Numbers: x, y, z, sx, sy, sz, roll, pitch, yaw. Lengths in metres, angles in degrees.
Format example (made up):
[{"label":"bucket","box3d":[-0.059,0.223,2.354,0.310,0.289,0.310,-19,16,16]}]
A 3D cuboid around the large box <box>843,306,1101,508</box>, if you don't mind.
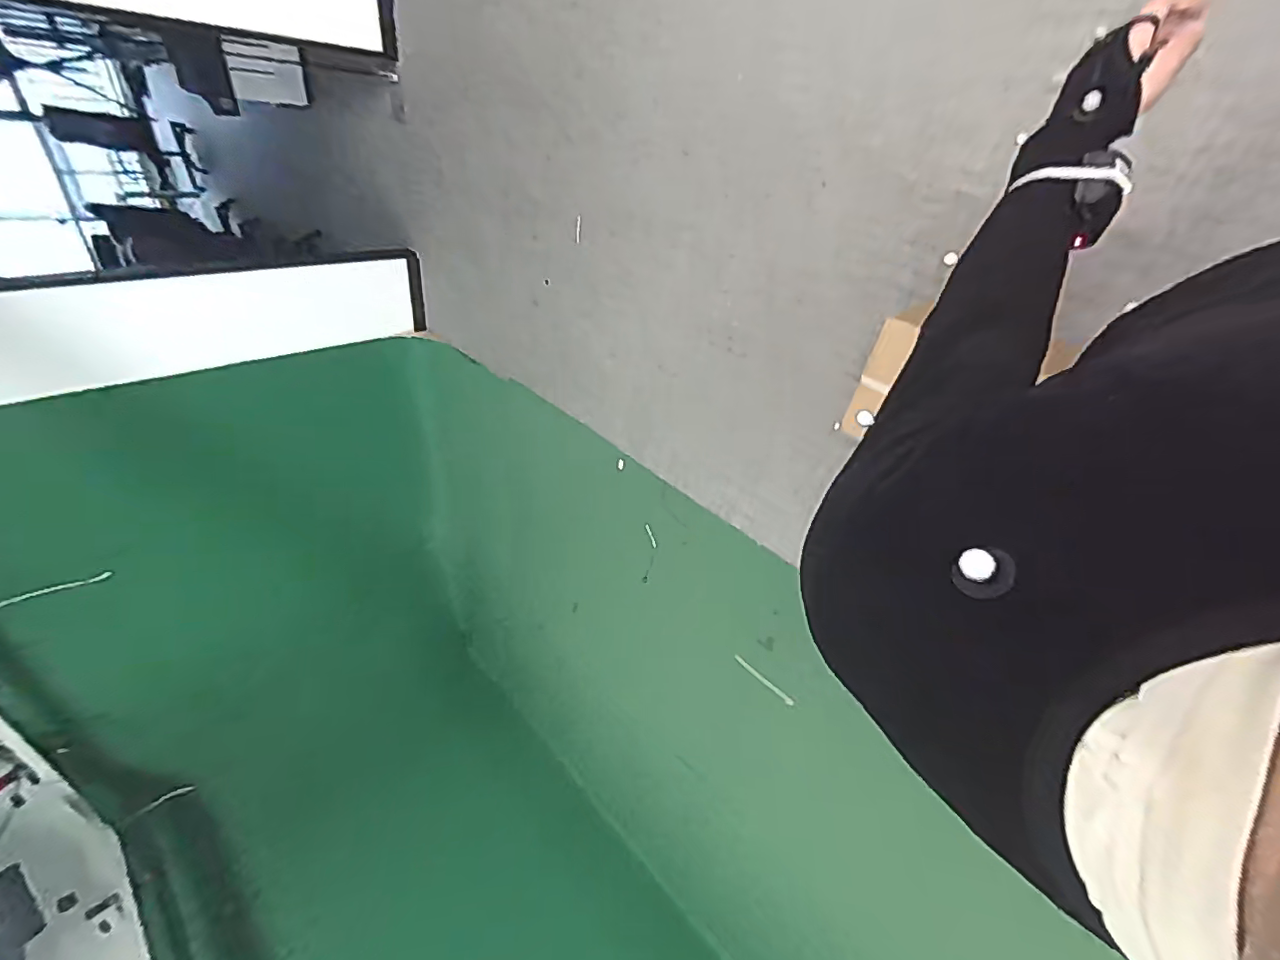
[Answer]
[{"label":"large box","box3d":[0.802,-0.201,1.338,0.408,0.320,0.320,37,133,31]}]
